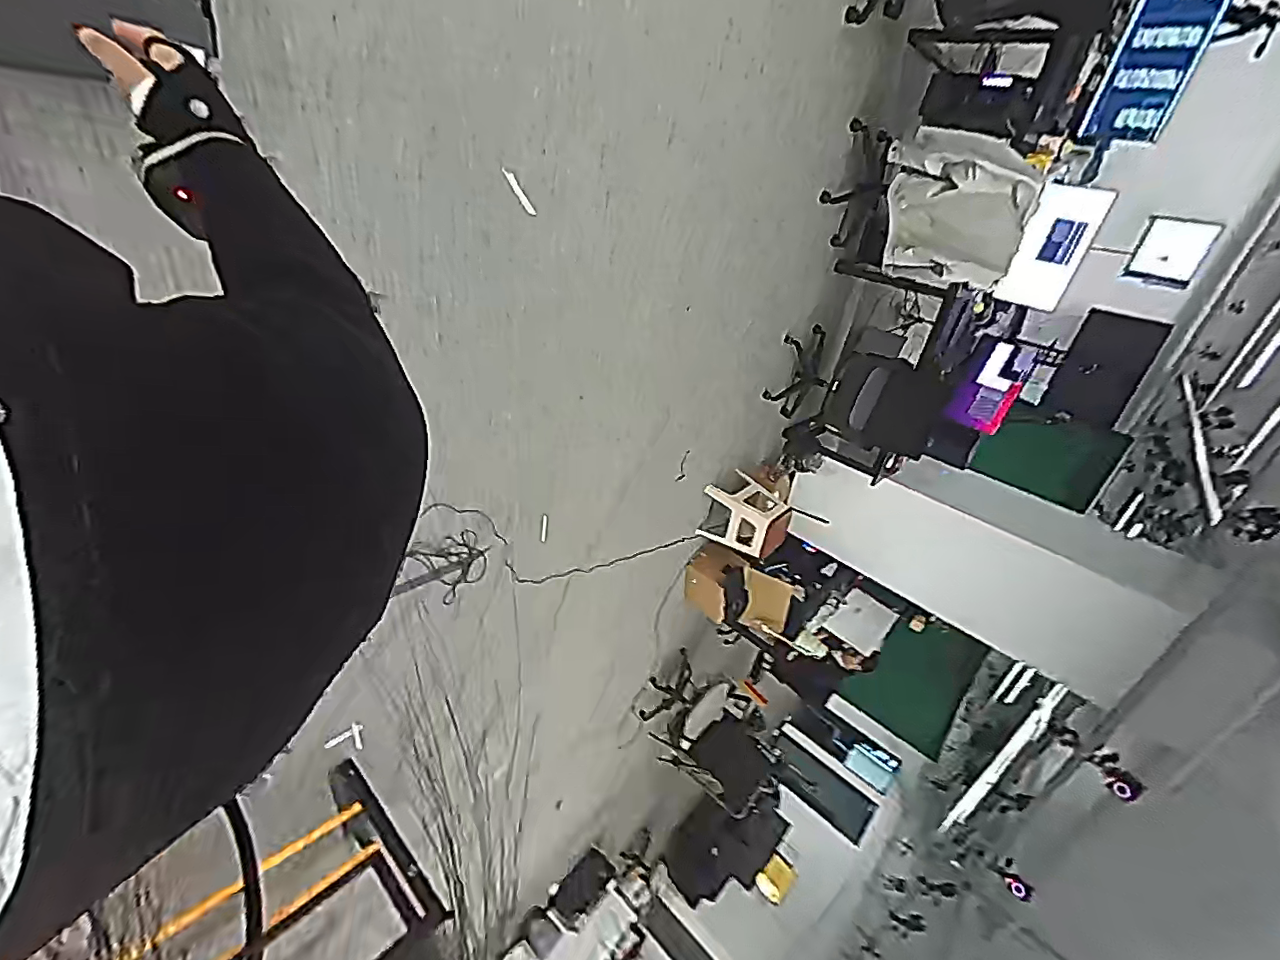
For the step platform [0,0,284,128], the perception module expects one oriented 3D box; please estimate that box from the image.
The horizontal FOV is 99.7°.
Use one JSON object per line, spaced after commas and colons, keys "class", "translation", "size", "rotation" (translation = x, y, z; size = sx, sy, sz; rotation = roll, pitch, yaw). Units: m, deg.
{"class": "step platform", "translation": [-0.826, -0.607, 0.605], "size": [0.684, 0.204, 0.286], "rotation": [-25, 134, -43]}
